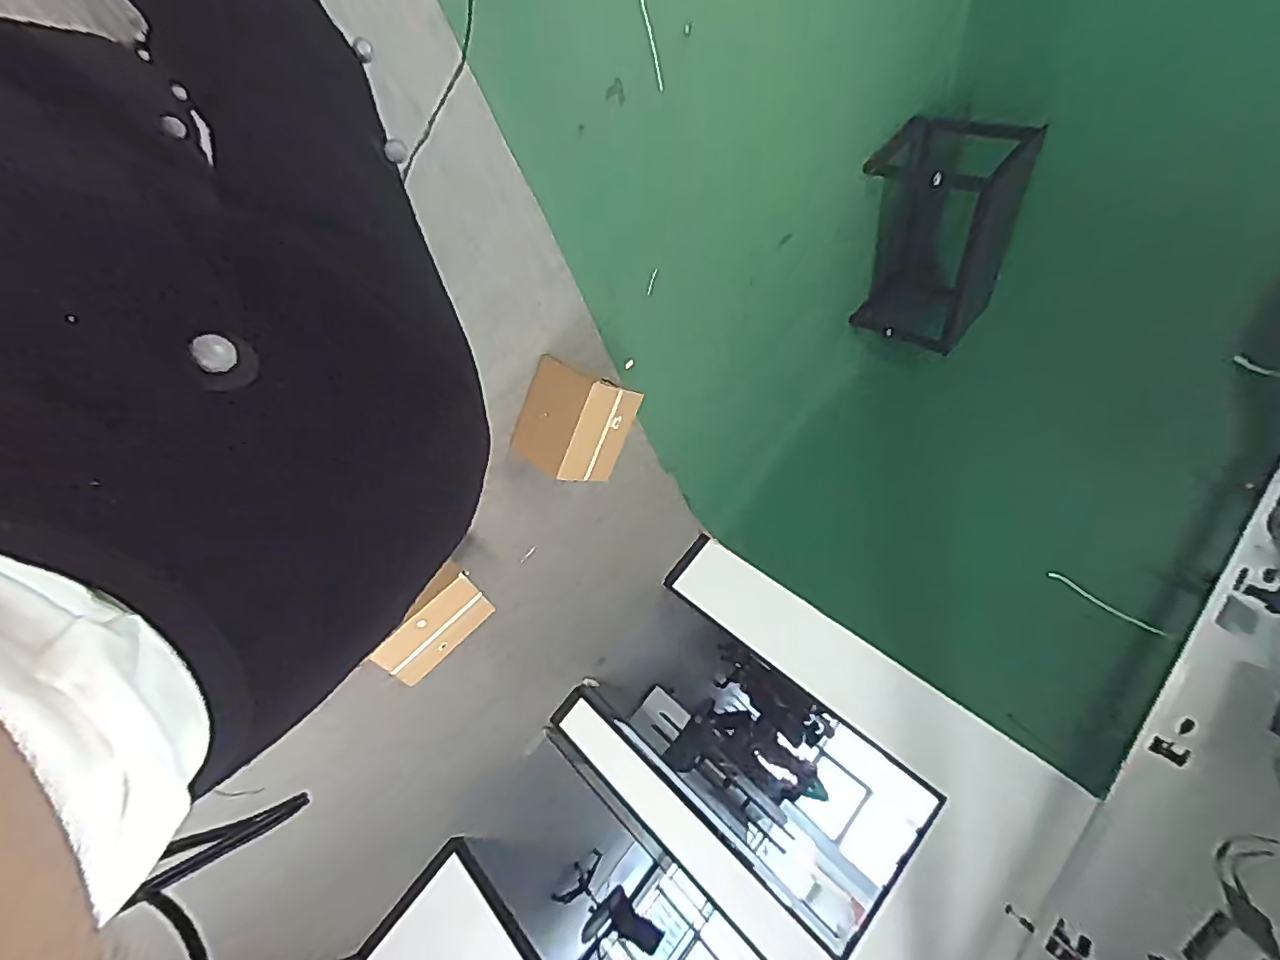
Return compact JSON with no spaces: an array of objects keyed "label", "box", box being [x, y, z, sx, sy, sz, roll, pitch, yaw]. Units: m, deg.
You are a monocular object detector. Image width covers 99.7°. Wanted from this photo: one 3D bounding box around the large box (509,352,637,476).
[{"label":"large box","box":[-0.278,-0.259,2.202,0.320,0.320,0.408,1,117,-55]}]
